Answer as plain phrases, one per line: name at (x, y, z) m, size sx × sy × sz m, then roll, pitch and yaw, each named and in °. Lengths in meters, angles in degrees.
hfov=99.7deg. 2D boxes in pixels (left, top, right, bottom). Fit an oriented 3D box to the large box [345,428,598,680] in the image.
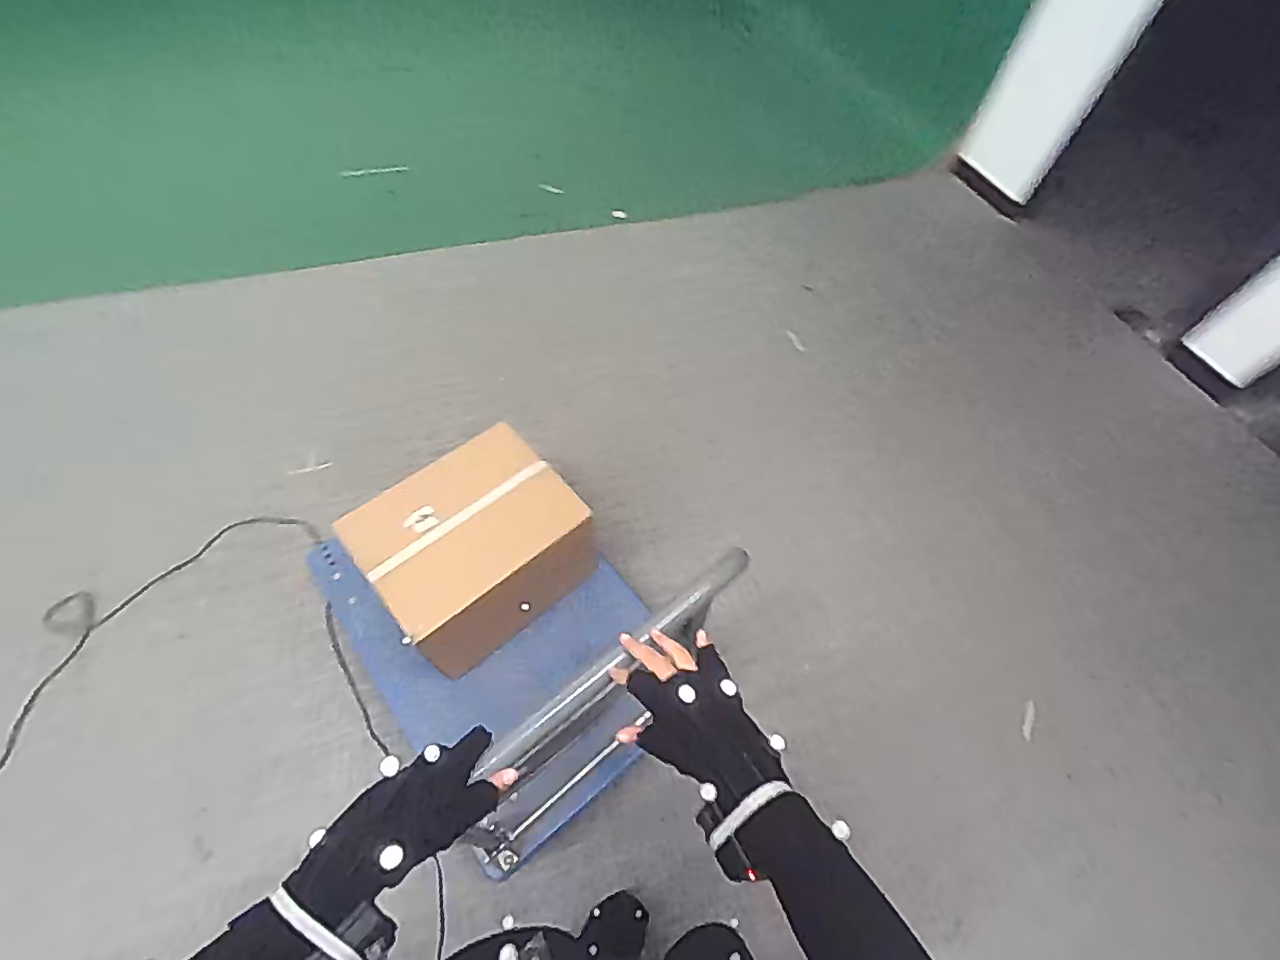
large box at (-0.340, 0.165, 1.205) m, size 0.408 × 0.320 × 0.320 m, roll -37°, pitch 67°, yaw -23°
